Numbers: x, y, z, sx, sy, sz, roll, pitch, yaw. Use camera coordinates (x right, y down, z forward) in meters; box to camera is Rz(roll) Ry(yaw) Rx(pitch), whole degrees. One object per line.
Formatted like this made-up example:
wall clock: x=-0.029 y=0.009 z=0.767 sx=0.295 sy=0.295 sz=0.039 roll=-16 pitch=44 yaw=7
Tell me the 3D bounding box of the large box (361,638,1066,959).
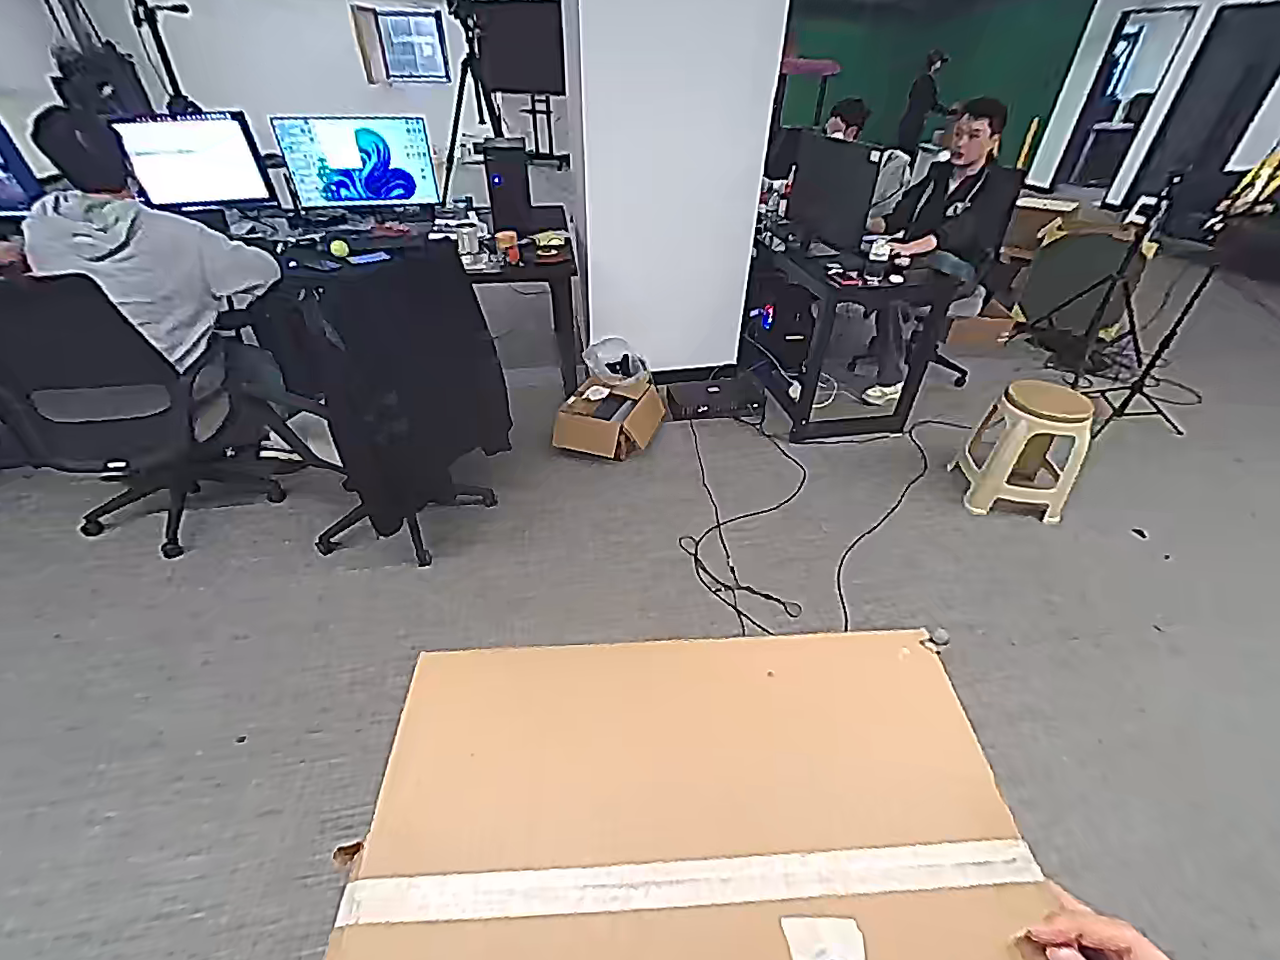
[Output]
large box: x=0.038 y=0.353 z=0.432 sx=0.408 sy=0.320 sz=0.320 roll=-2 pitch=45 yaw=-2
